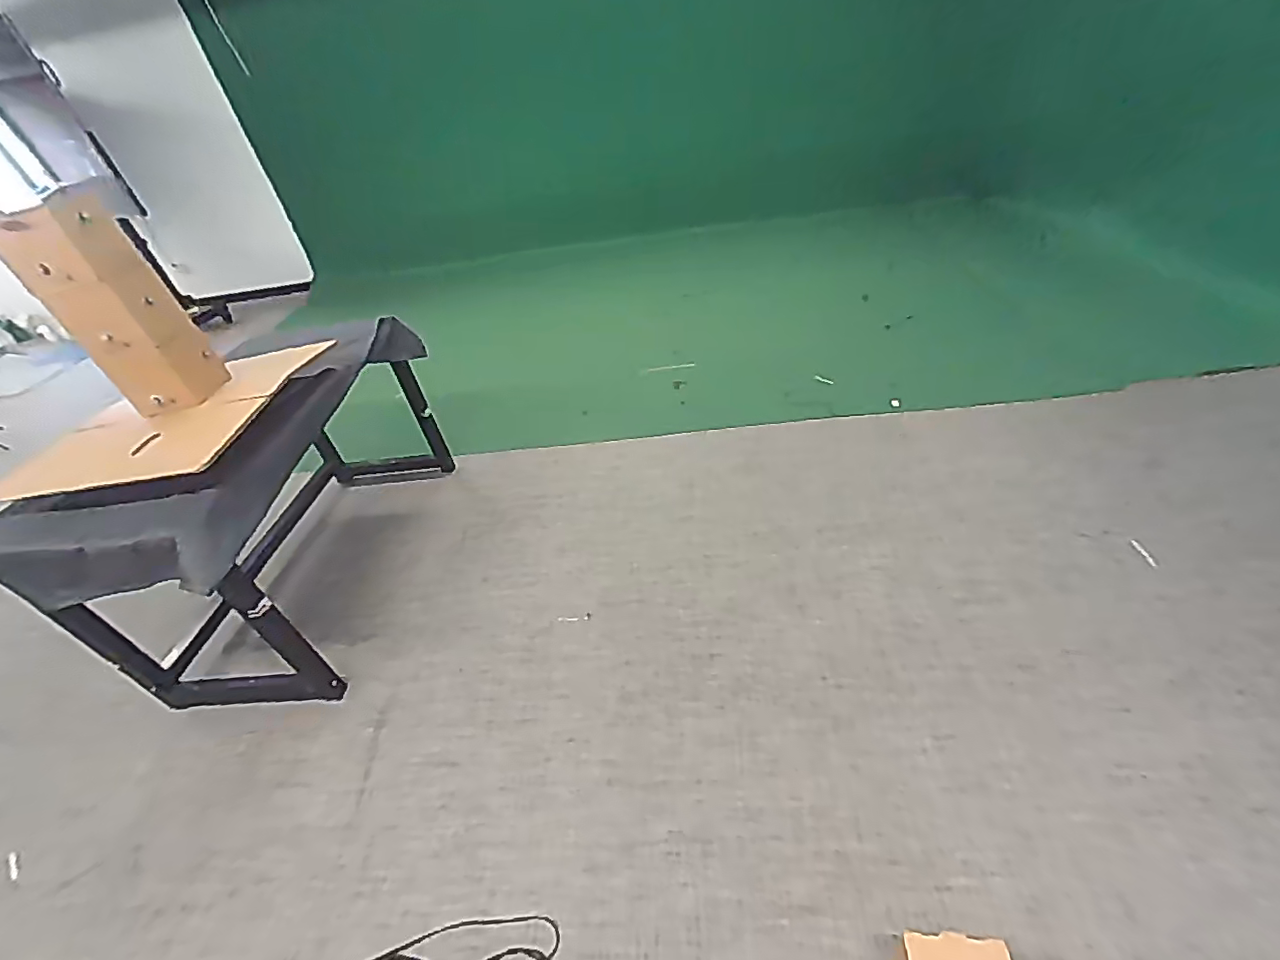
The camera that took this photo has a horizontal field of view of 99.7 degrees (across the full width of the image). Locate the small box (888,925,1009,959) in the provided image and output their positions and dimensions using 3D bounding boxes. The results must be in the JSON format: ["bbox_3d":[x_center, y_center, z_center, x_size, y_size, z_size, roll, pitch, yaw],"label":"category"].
[{"bbox_3d":[0.533,0.889,0.911,0.168,0.176,0.179,-3,38,9],"label":"small box"}]

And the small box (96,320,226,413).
[{"bbox_3d":[-1.270,-0.304,1.456,0.168,0.176,0.179,-14,38,2],"label":"small box"}]

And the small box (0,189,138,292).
[{"bbox_3d":[-1.343,-0.558,1.262,0.168,0.176,0.179,-15,38,0],"label":"small box"}]

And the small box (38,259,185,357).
[{"bbox_3d":[-1.305,-0.432,1.358,0.168,0.176,0.179,-14,38,1],"label":"small box"}]
